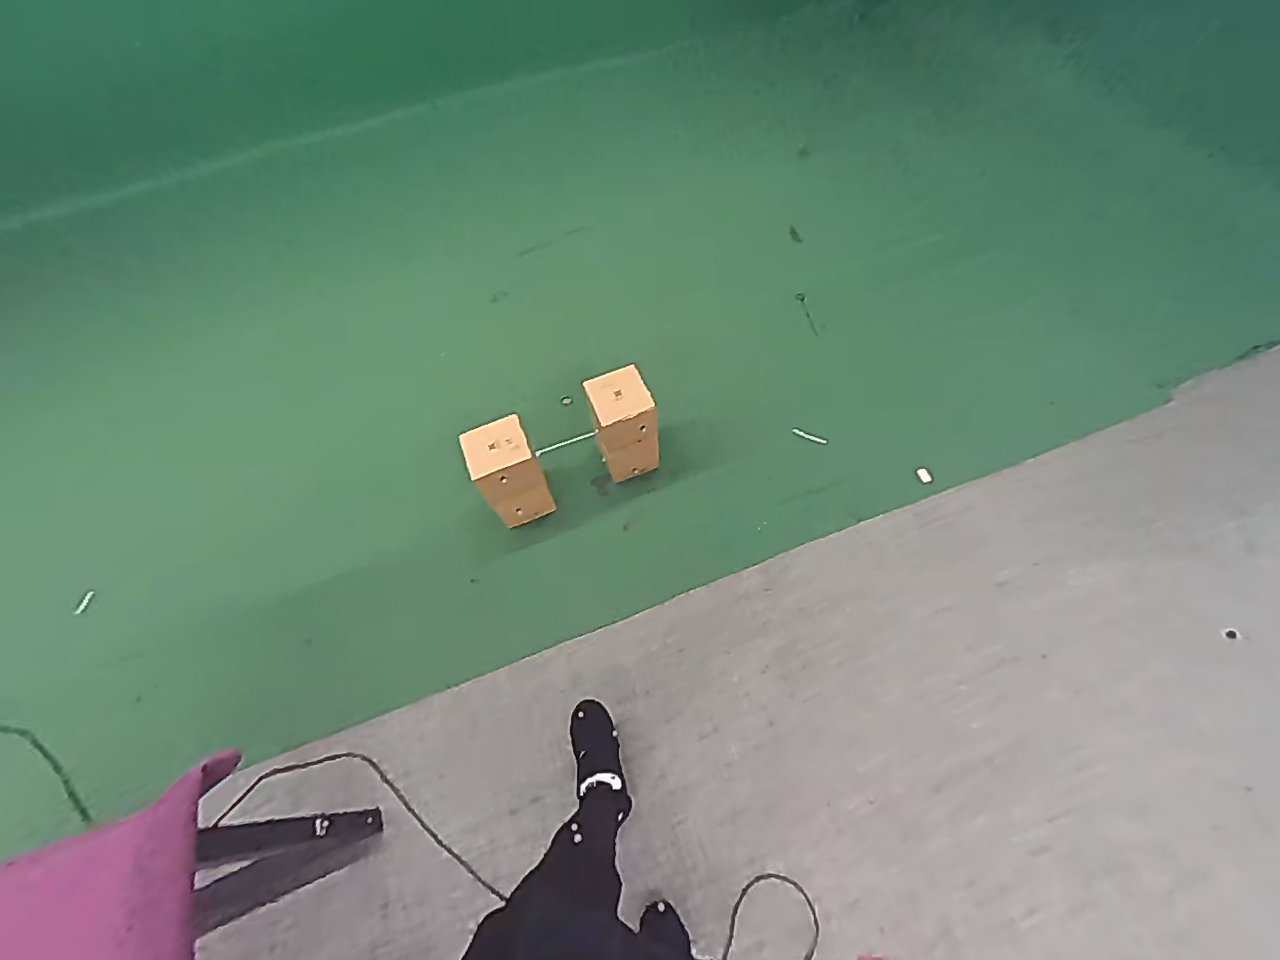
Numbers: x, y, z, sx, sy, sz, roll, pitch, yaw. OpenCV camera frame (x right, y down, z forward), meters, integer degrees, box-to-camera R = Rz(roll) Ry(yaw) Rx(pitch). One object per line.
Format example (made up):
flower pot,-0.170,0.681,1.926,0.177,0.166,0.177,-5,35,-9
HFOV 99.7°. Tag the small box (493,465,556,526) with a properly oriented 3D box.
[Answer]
small box,-0.381,0.026,1.714,0.168,0.176,0.179,-22,60,-7

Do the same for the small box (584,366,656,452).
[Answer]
small box,-0.055,-0.204,1.626,0.168,0.176,0.179,-21,62,-8

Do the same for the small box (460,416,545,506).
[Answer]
small box,-0.394,-0.050,1.568,0.179,0.176,0.168,-22,61,-7
